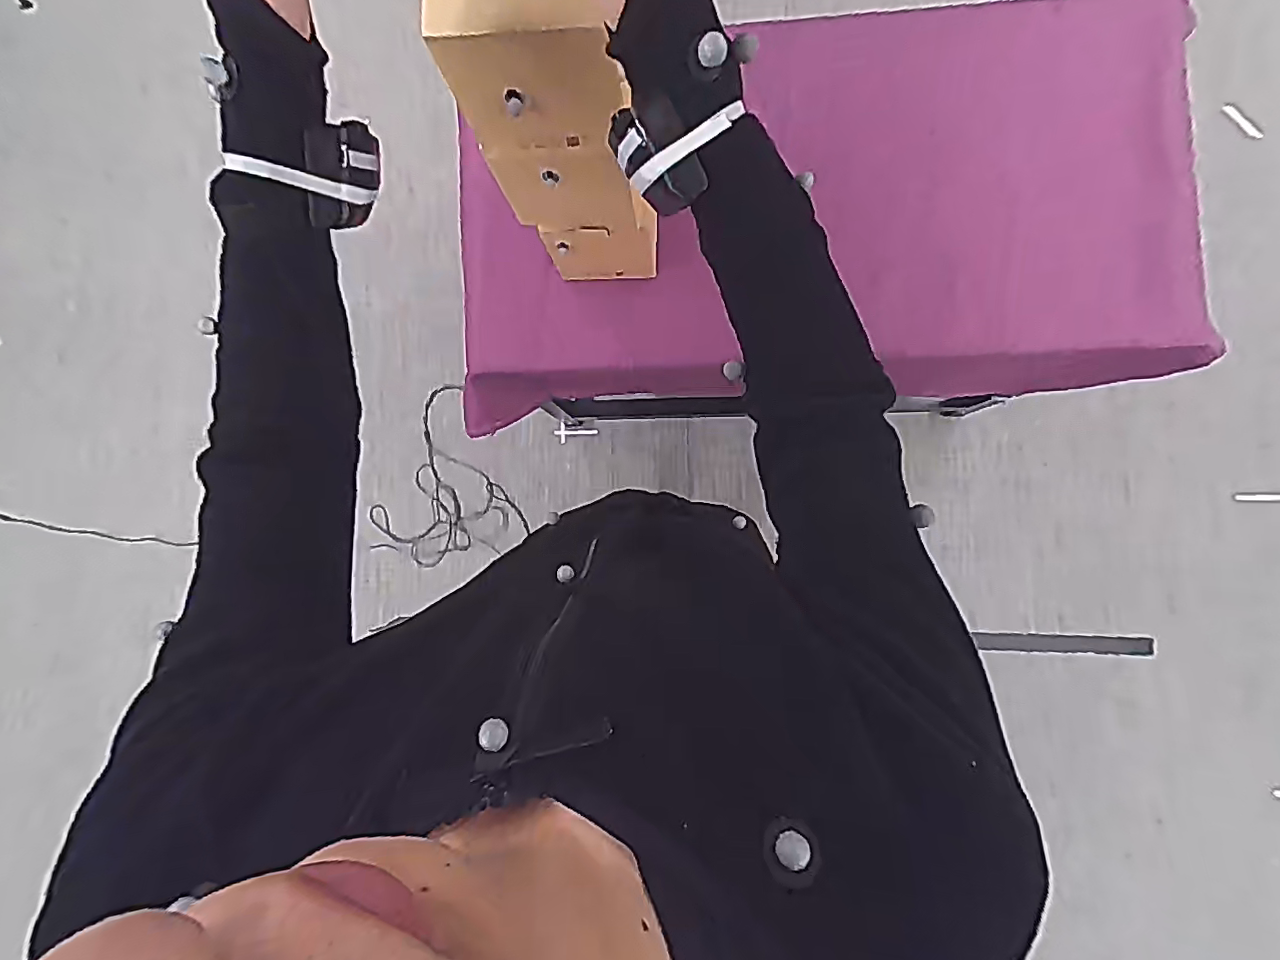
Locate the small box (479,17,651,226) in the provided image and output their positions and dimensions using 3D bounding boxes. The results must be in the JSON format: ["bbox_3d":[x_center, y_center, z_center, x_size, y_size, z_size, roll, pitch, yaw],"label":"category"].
[{"bbox_3d":[-0.085,-0.453,0.702,0.179,0.176,0.168,7,88,5],"label":"small box"}]

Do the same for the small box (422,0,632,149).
[{"bbox_3d":[-0.097,-0.459,0.540,0.168,0.176,0.179,0,86,5],"label":"small box"}]
